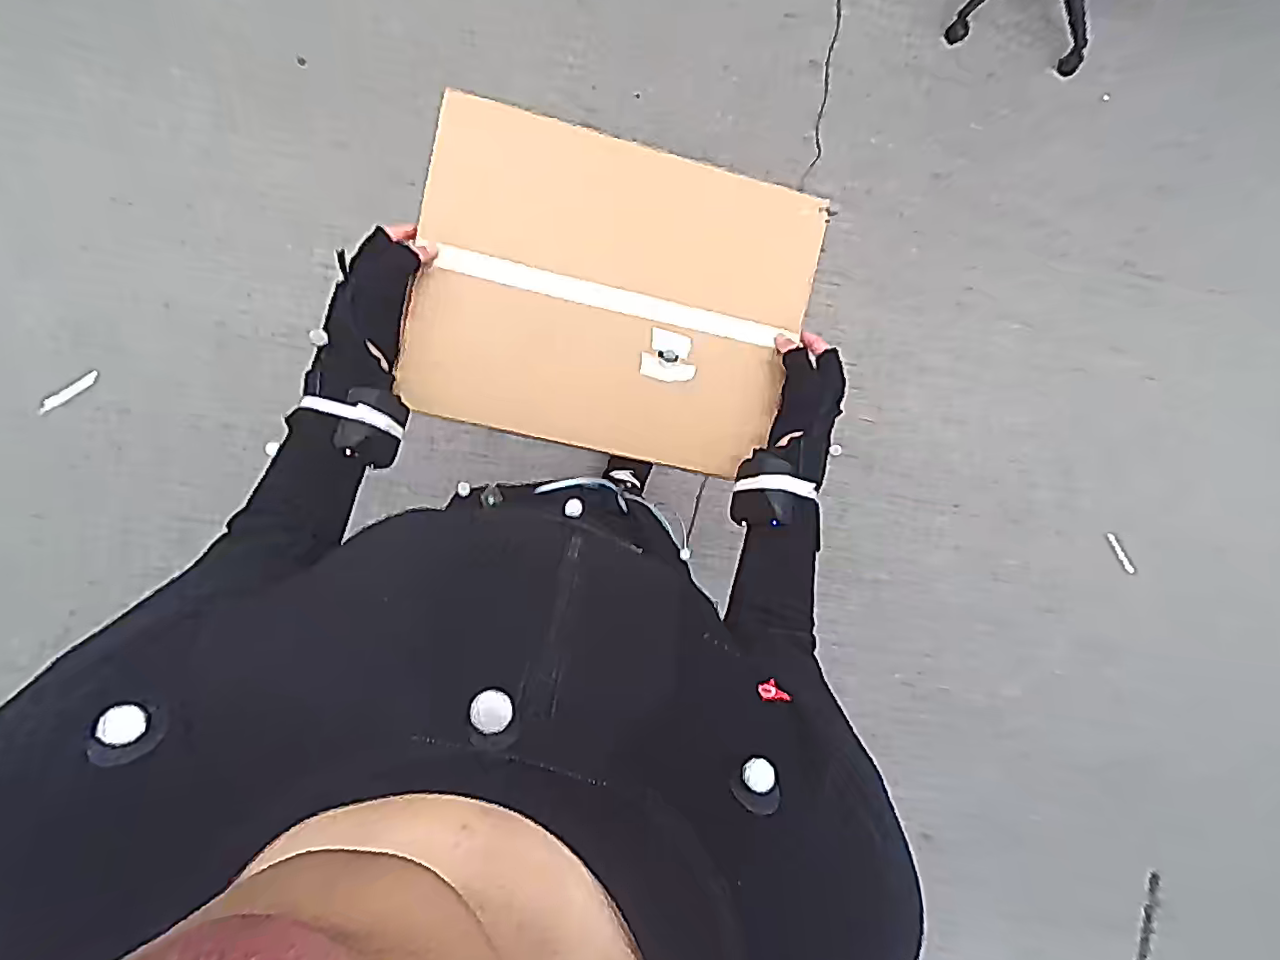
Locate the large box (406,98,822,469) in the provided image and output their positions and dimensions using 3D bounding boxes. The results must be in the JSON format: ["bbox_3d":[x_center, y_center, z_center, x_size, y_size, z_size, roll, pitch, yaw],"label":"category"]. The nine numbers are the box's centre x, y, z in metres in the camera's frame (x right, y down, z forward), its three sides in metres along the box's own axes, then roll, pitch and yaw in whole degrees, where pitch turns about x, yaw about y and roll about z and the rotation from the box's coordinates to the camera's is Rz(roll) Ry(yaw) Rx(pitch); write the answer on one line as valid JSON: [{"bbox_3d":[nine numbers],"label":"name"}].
[{"bbox_3d":[-0.042,-0.210,0.721,0.408,0.320,0.320,12,95,-9],"label":"large box"}]
